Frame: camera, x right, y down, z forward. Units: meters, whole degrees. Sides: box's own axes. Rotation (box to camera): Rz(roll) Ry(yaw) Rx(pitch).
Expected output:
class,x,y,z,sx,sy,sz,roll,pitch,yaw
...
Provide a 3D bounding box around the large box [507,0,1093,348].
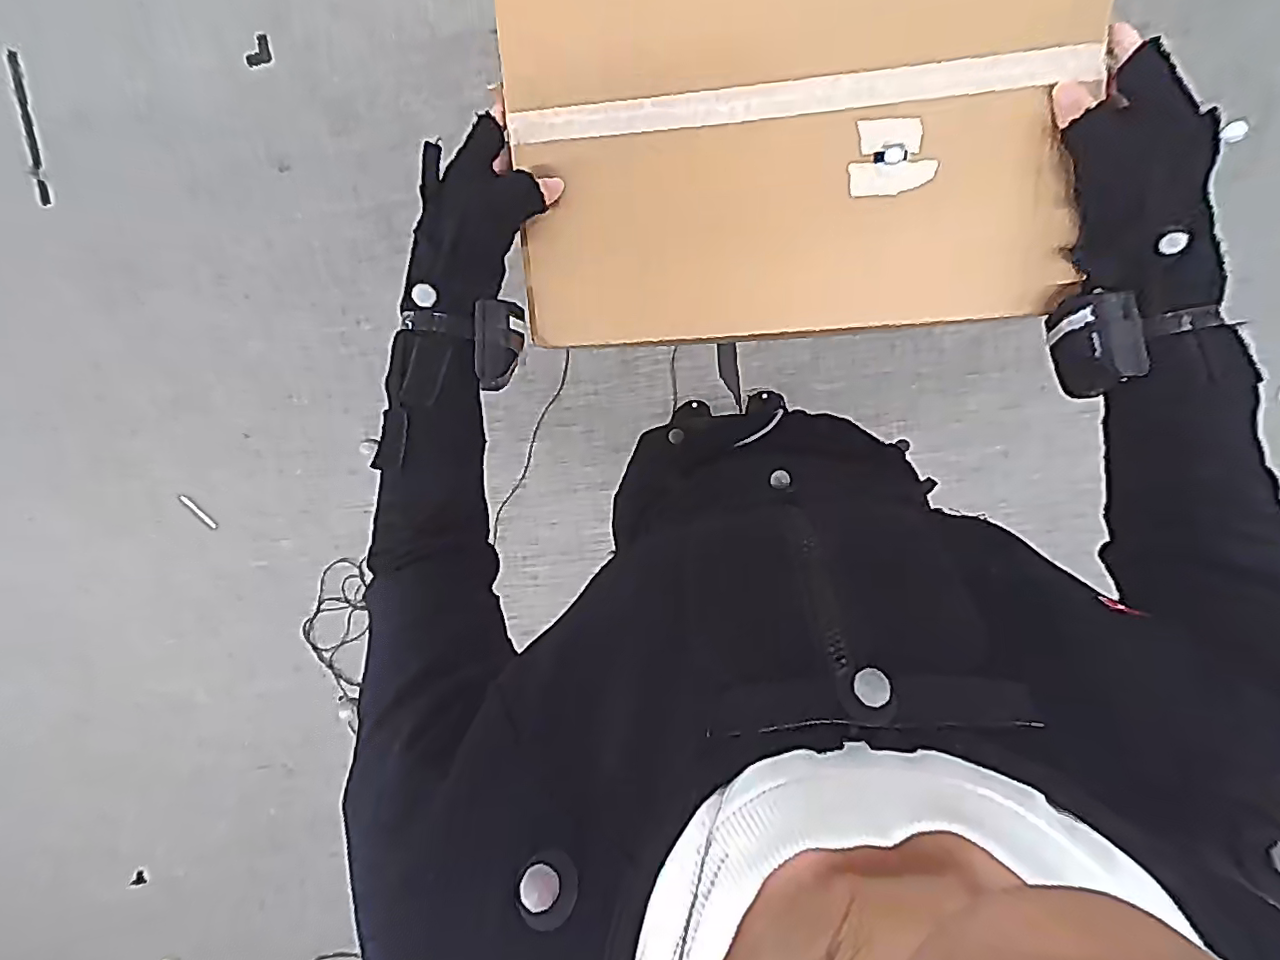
class,x,y,z,sx,sy,sz,roll,pitch,yaw
large box,0.118,-0.306,0.534,0.408,0.320,0.320,-3,104,5
